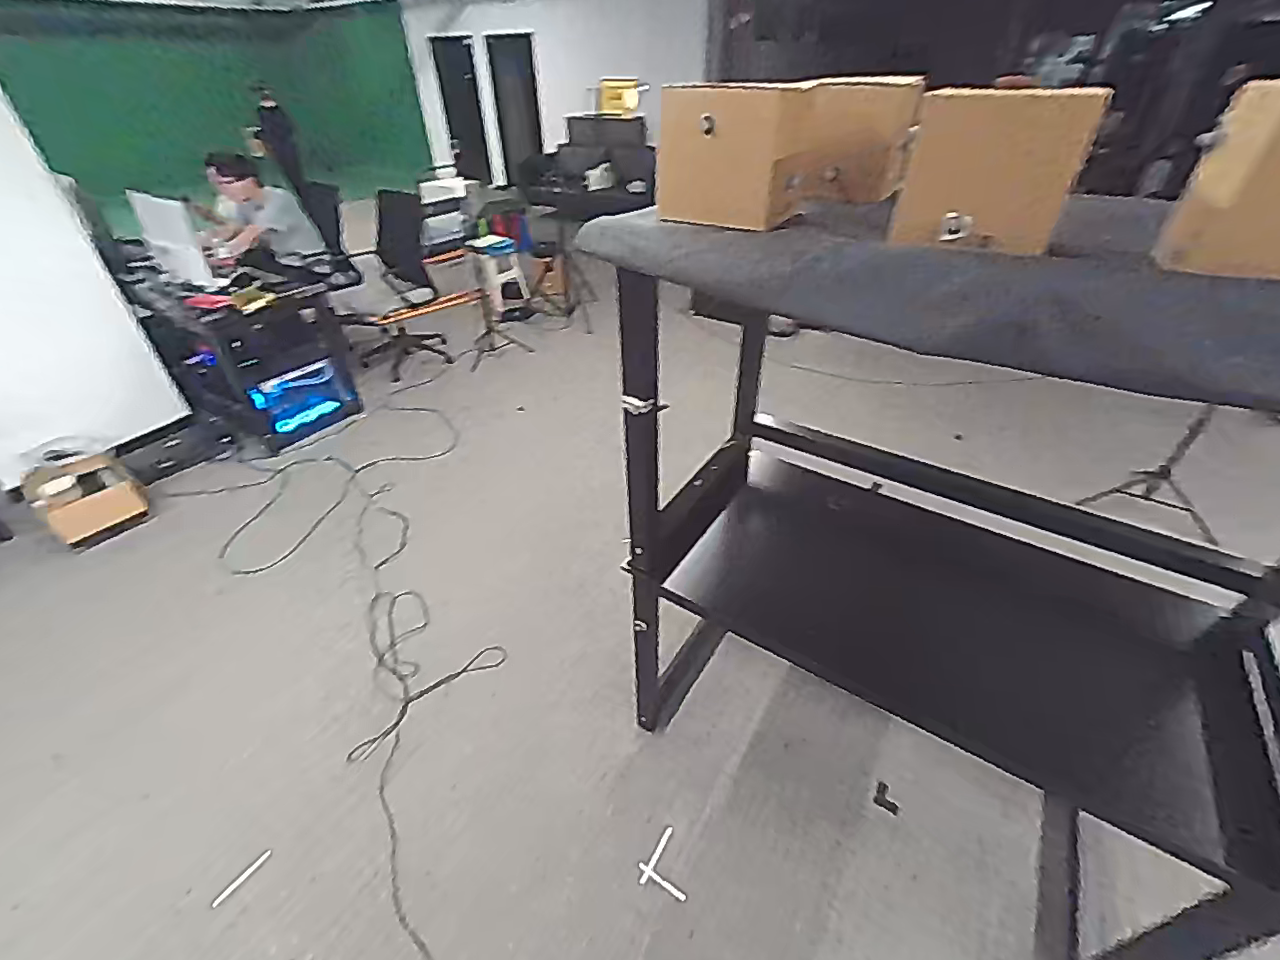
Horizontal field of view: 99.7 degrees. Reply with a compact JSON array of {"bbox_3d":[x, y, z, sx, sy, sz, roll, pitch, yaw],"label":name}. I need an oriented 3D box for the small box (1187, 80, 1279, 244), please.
[{"bbox_3d":[0.860,-0.407,0.693,0.168,0.176,0.179,21,43,26],"label":"small box"}]

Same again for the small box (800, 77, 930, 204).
[{"bbox_3d":[0.374,-0.592,0.944,0.179,0.176,0.168,21,43,25],"label":"small box"}]

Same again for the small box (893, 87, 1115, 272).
[{"bbox_3d":[0.419,-0.364,0.647,0.168,0.176,0.179,18,40,24],"label":"small box"}]

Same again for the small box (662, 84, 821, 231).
[{"bbox_3d":[0.142,-0.474,0.793,0.179,0.176,0.168,20,41,24],"label":"small box"}]
